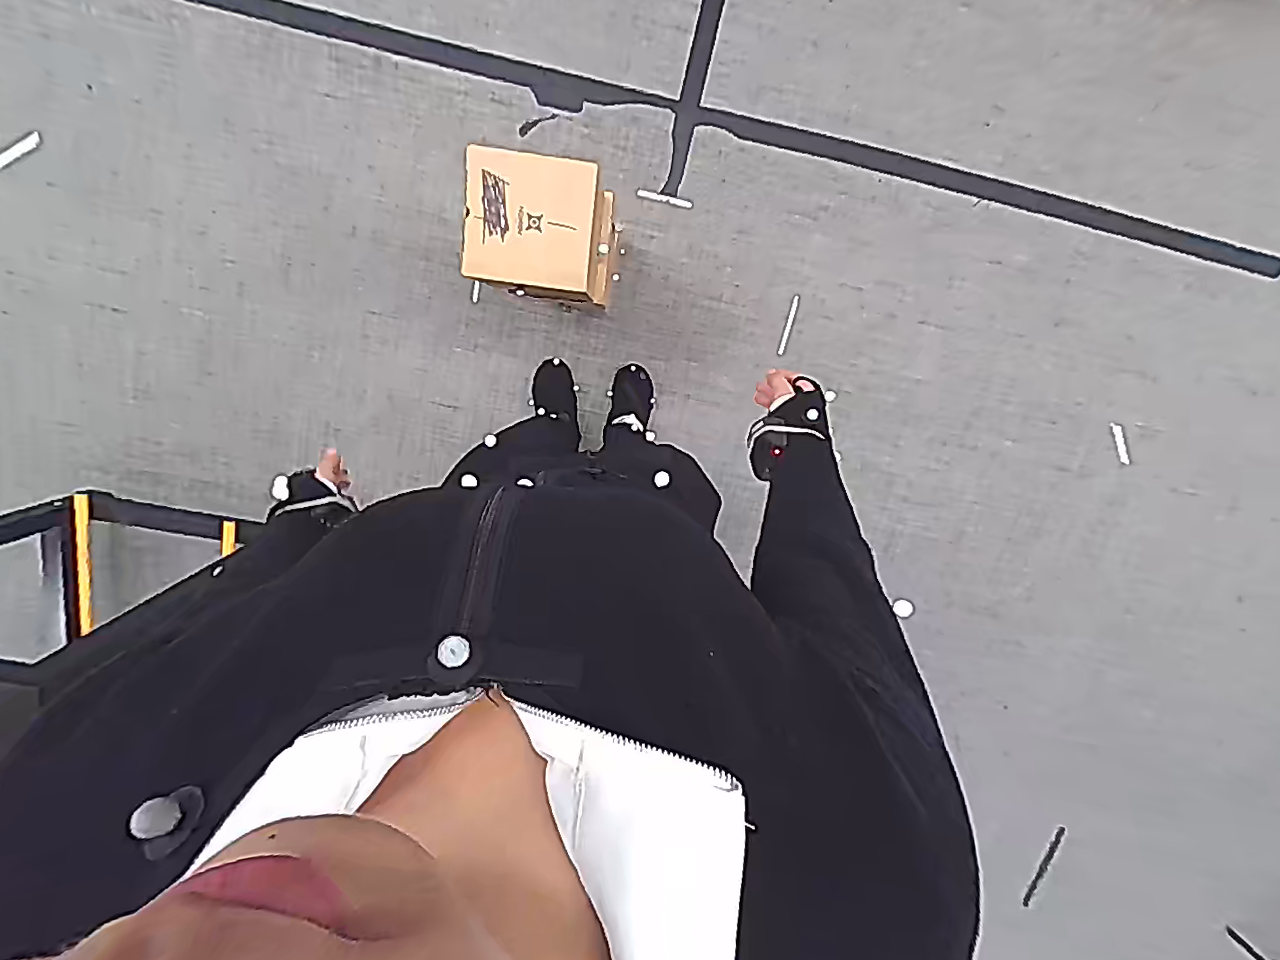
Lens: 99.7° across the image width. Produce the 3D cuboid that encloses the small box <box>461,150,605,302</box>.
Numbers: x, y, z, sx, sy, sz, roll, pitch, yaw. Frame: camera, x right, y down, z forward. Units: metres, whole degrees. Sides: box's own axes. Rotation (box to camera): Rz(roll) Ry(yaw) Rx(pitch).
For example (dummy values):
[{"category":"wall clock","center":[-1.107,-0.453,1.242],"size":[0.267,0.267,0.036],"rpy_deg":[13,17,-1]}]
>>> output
[{"category":"small box","center":[-0.151,-0.364,0.807],"size":[0.179,0.176,0.168],"rpy_deg":[7,105,-3]}]

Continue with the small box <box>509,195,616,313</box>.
[{"category":"small box","center":[-0.134,-0.403,0.967],"size":[0.168,0.176,0.179],"rpy_deg":[6,105,-2]}]
